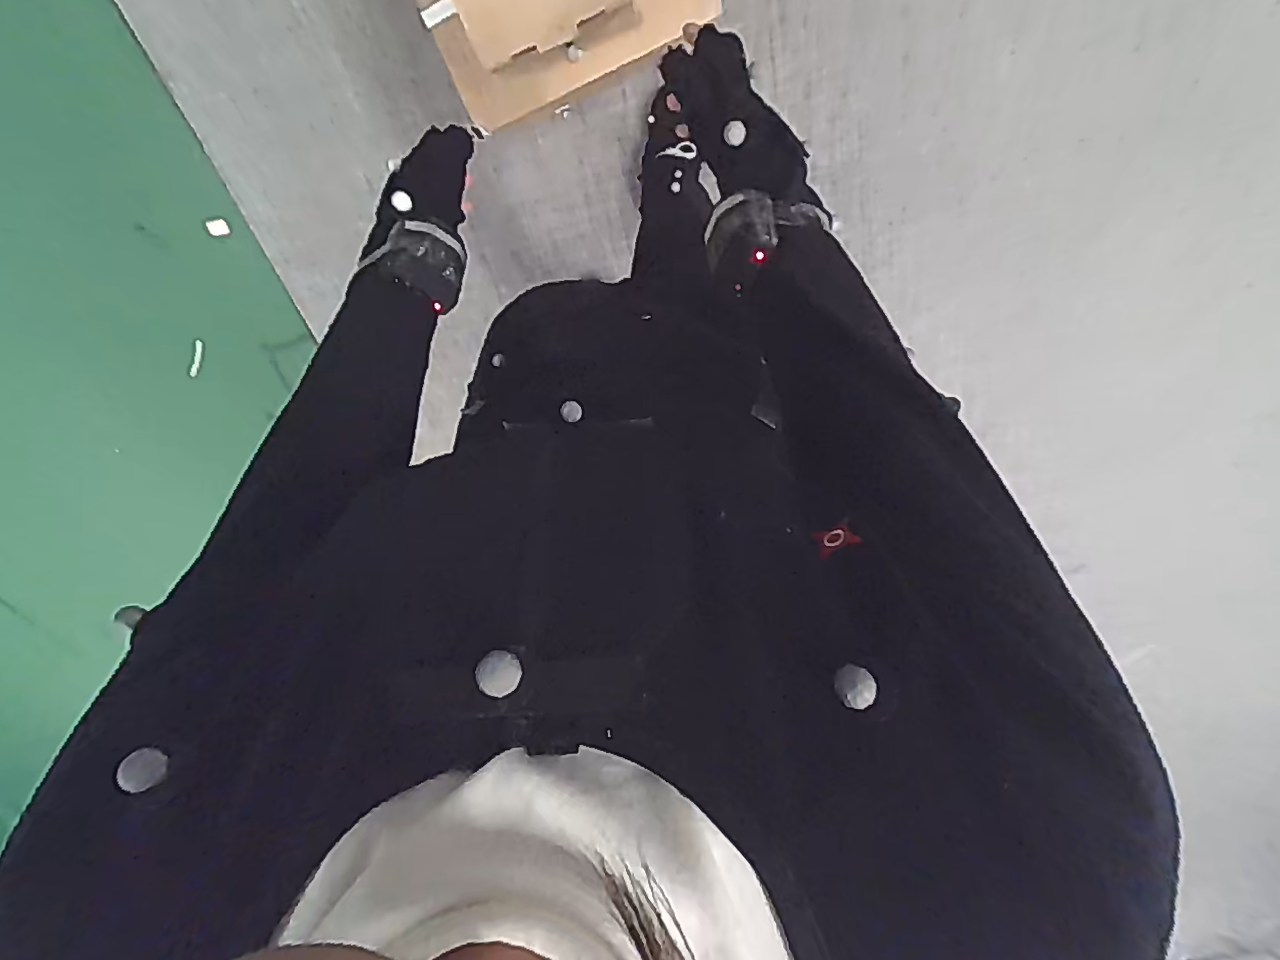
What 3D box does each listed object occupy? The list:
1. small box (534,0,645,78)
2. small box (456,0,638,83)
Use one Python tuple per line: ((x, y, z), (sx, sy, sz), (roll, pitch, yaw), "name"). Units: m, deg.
((-0.098, -0.645, 0.694), (0.179, 0.176, 0.168), (-16, 124, 12), "small box")
((-0.105, -0.548, 0.562), (0.168, 0.176, 0.179), (-16, 124, 13), "small box")
